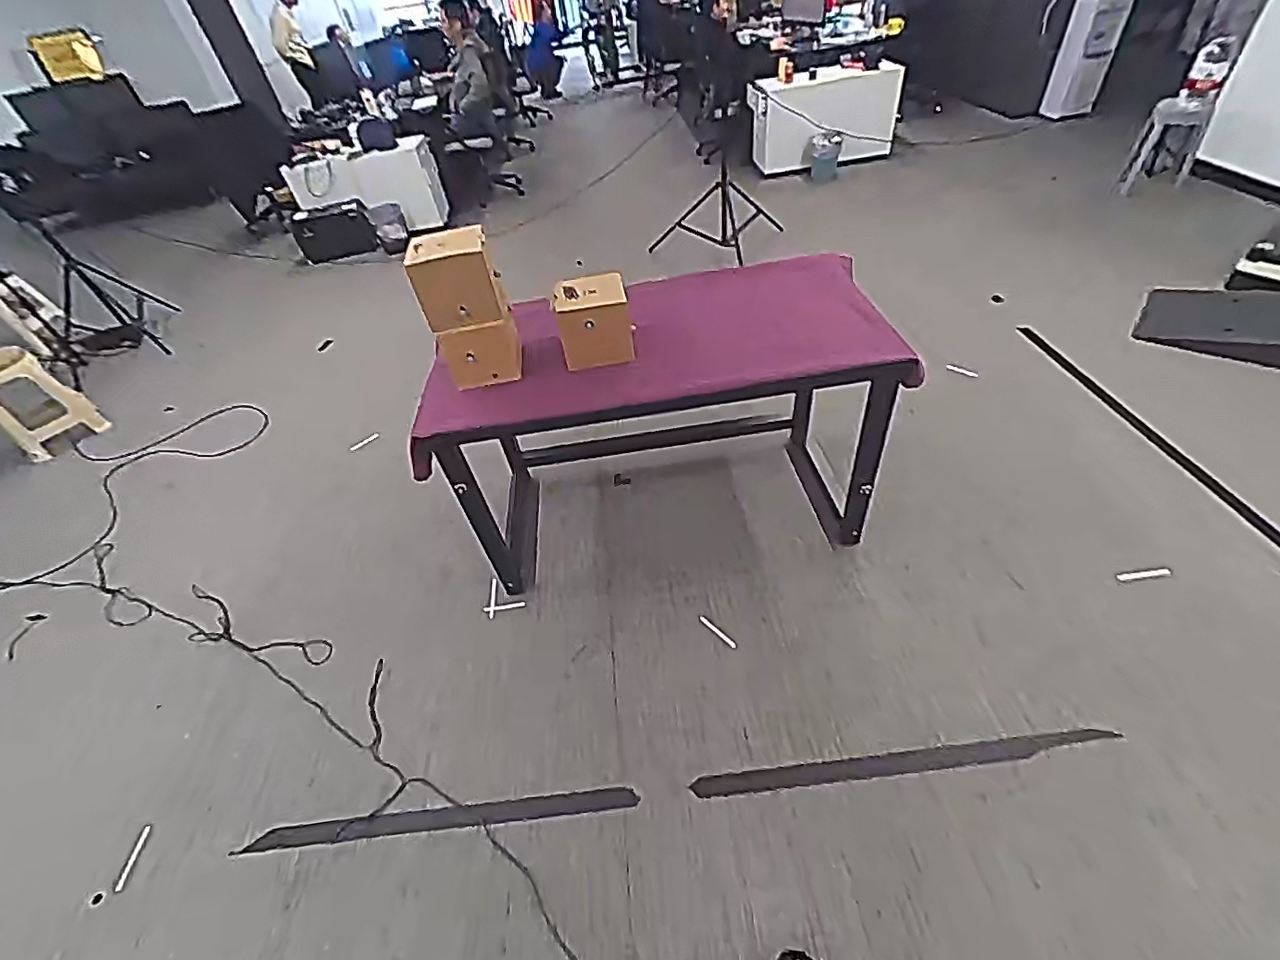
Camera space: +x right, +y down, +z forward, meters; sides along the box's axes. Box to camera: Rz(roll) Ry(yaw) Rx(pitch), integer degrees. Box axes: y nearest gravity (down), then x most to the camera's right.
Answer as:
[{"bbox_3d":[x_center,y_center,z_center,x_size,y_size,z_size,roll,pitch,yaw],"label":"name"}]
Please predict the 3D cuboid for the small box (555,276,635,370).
[{"bbox_3d":[-0.116,-0.403,1.403,0.179,0.176,0.168,-9,45,-1],"label":"small box"}]

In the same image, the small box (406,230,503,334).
[{"bbox_3d":[-0.432,-0.474,1.295,0.179,0.176,0.168,-12,44,-3],"label":"small box"}]

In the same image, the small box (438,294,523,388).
[{"bbox_3d":[-0.407,-0.354,1.405,0.168,0.176,0.179,-11,44,-1],"label":"small box"}]
